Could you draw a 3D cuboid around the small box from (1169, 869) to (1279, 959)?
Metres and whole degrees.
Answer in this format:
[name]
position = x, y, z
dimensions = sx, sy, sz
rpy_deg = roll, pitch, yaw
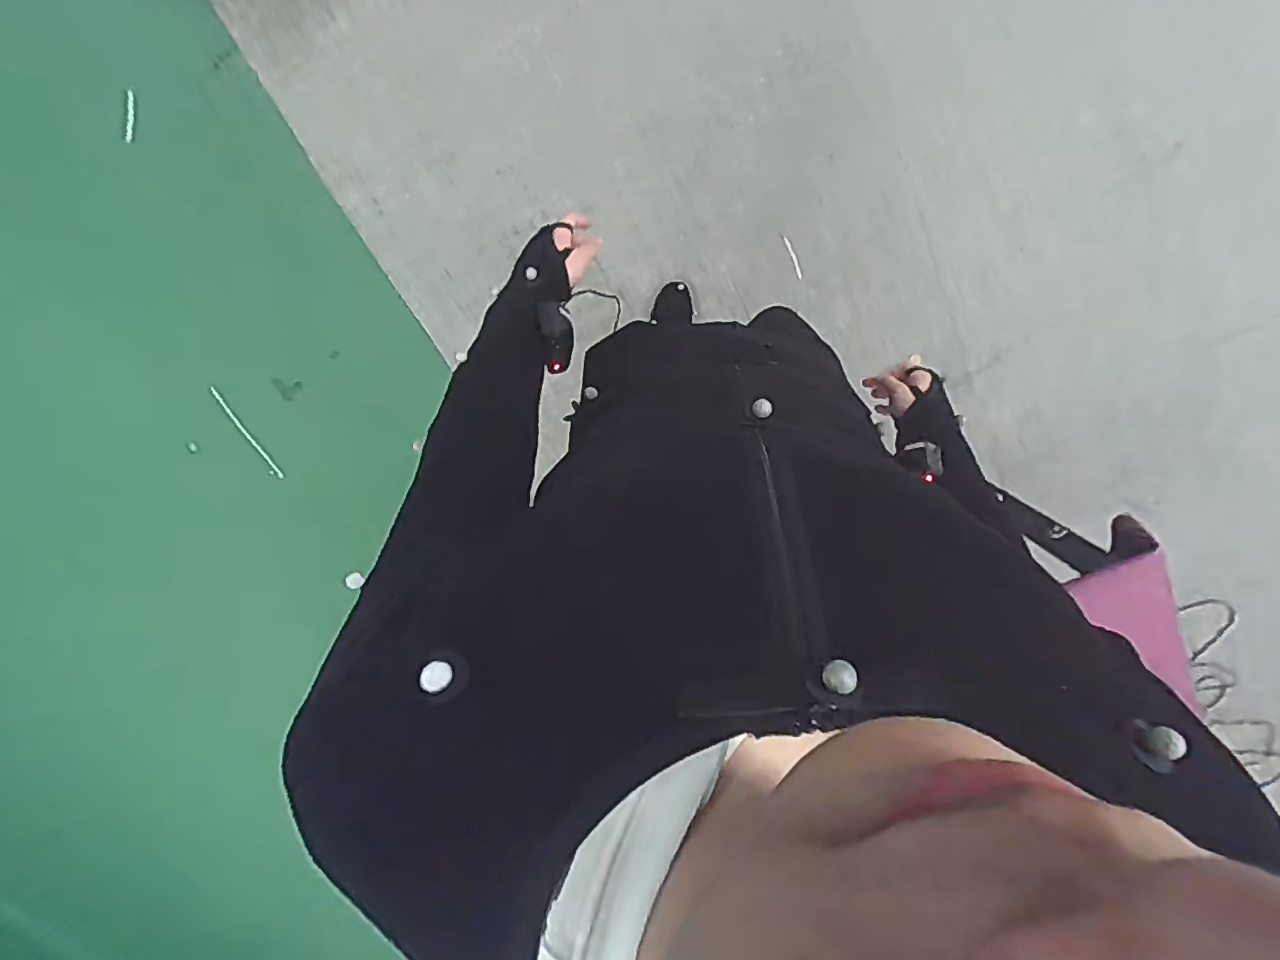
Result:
[small box]
position = 0.911, 0.678, 0.745
dimensions = 0.179, 0.176, 0.168
rpy_deg = 11, 110, -4
